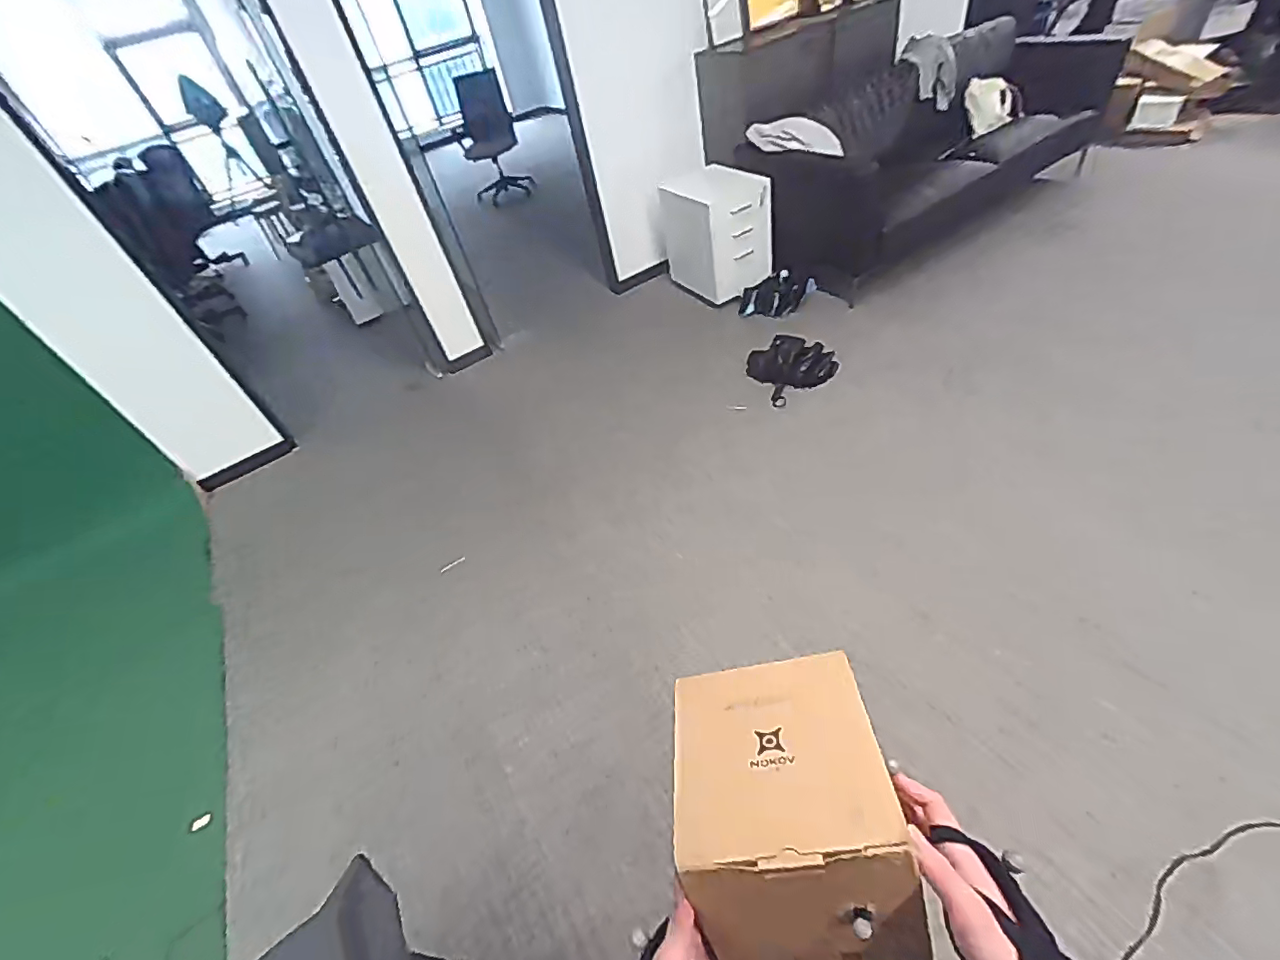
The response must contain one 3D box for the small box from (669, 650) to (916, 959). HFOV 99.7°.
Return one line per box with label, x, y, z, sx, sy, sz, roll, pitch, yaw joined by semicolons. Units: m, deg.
small box;0.127;0.285;0.477;0.168;0.176;0.179;-12;25;11
